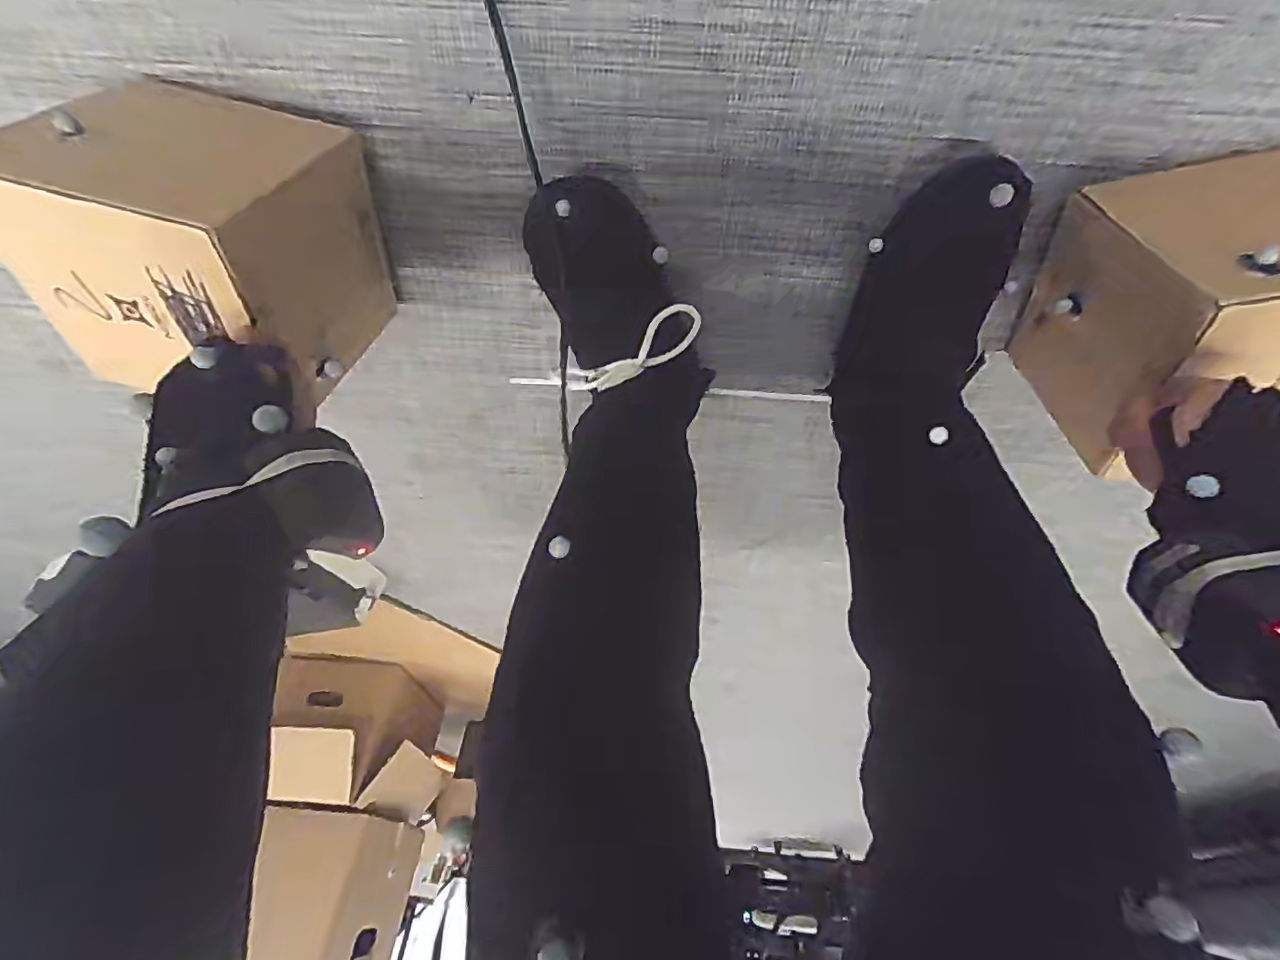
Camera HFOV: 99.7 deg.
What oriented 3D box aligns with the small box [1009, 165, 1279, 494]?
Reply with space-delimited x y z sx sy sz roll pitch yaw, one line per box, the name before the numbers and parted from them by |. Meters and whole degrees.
small box | 0.433 -0.114 0.413 0.179 0.176 0.168 -8 140 8
